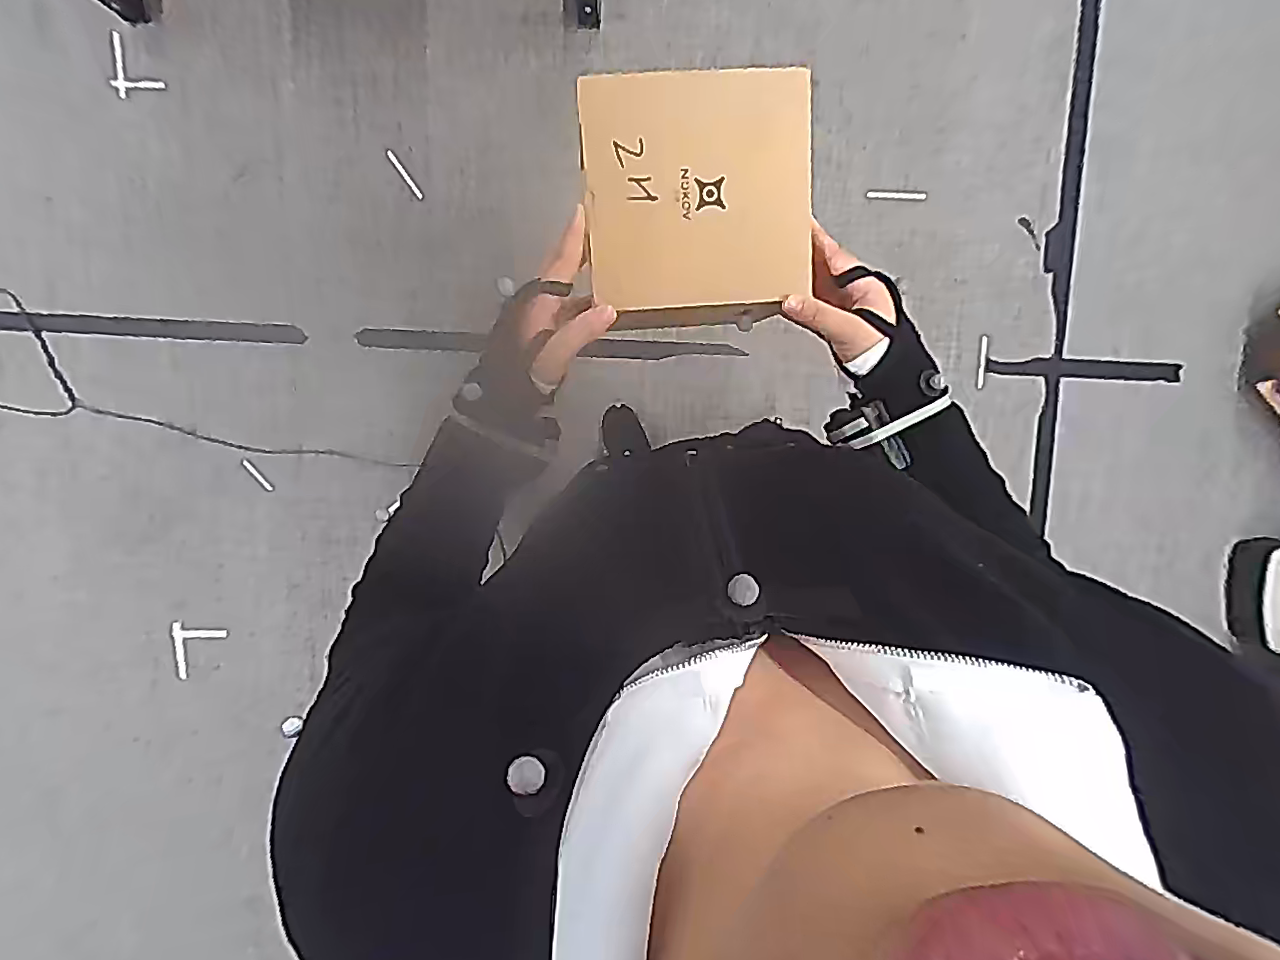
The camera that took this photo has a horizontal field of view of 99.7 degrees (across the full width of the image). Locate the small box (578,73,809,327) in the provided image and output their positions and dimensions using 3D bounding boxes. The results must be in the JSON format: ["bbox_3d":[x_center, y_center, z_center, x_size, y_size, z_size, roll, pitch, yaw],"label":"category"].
[{"bbox_3d":[0.039,-0.234,0.493,0.179,0.176,0.168,-4,100,-2],"label":"small box"}]
